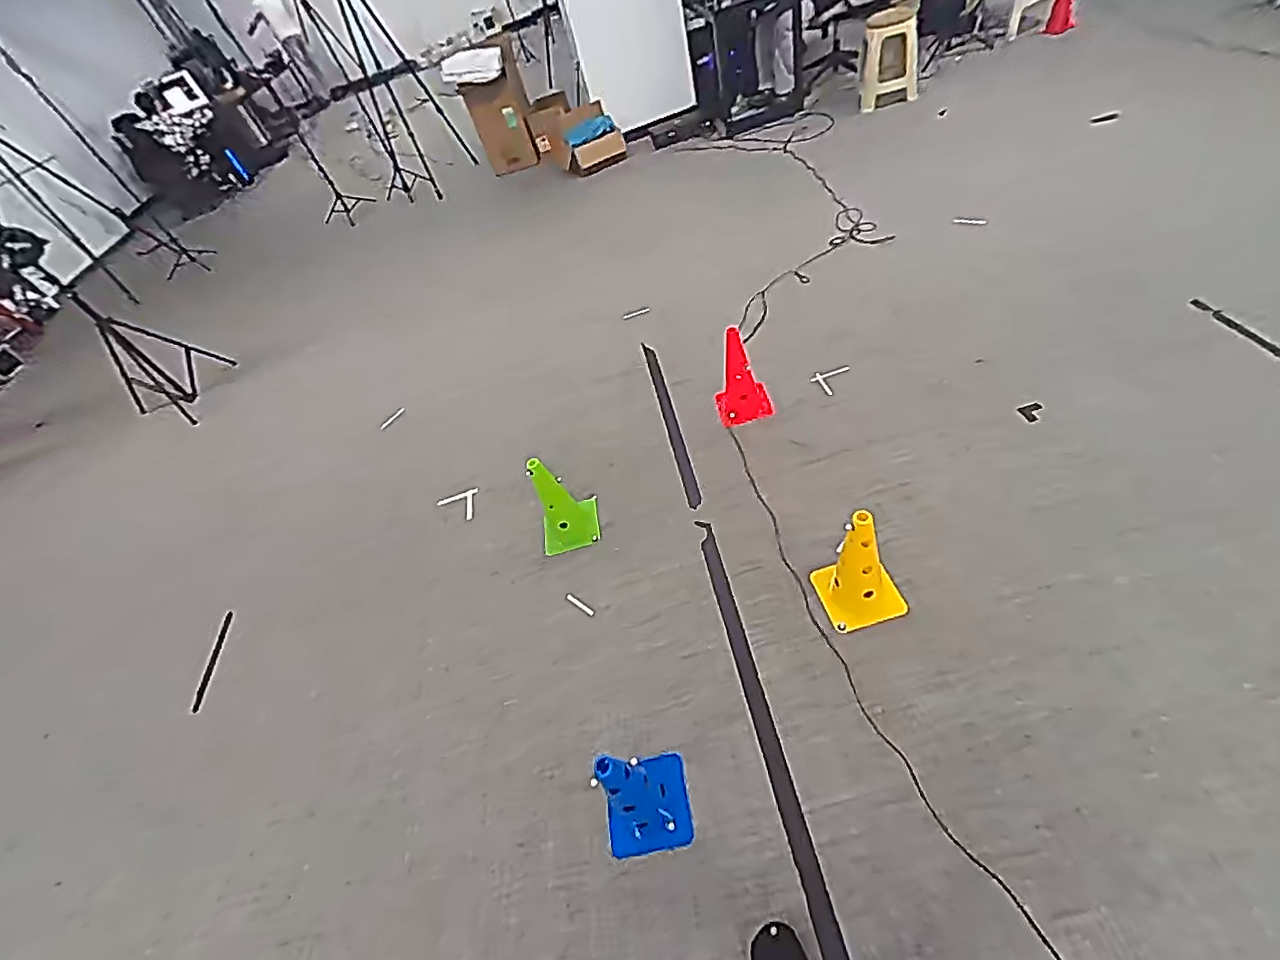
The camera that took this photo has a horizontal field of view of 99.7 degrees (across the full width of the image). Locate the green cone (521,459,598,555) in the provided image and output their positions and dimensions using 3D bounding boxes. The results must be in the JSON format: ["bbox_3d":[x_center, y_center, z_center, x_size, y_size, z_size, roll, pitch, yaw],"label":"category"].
[{"bbox_3d":[-0.297,0.055,1.805,0.202,0.368,0.200,-18,47,5],"label":"green cone"}]

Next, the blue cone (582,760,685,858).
[{"bbox_3d":[-0.036,0.682,1.184,0.192,0.380,0.193,-15,47,8],"label":"blue cone"}]

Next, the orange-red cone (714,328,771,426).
[{"bbox_3d":[0.354,-0.401,1.981,0.199,0.360,0.198,-13,49,7],"label":"orange-red cone"}]
